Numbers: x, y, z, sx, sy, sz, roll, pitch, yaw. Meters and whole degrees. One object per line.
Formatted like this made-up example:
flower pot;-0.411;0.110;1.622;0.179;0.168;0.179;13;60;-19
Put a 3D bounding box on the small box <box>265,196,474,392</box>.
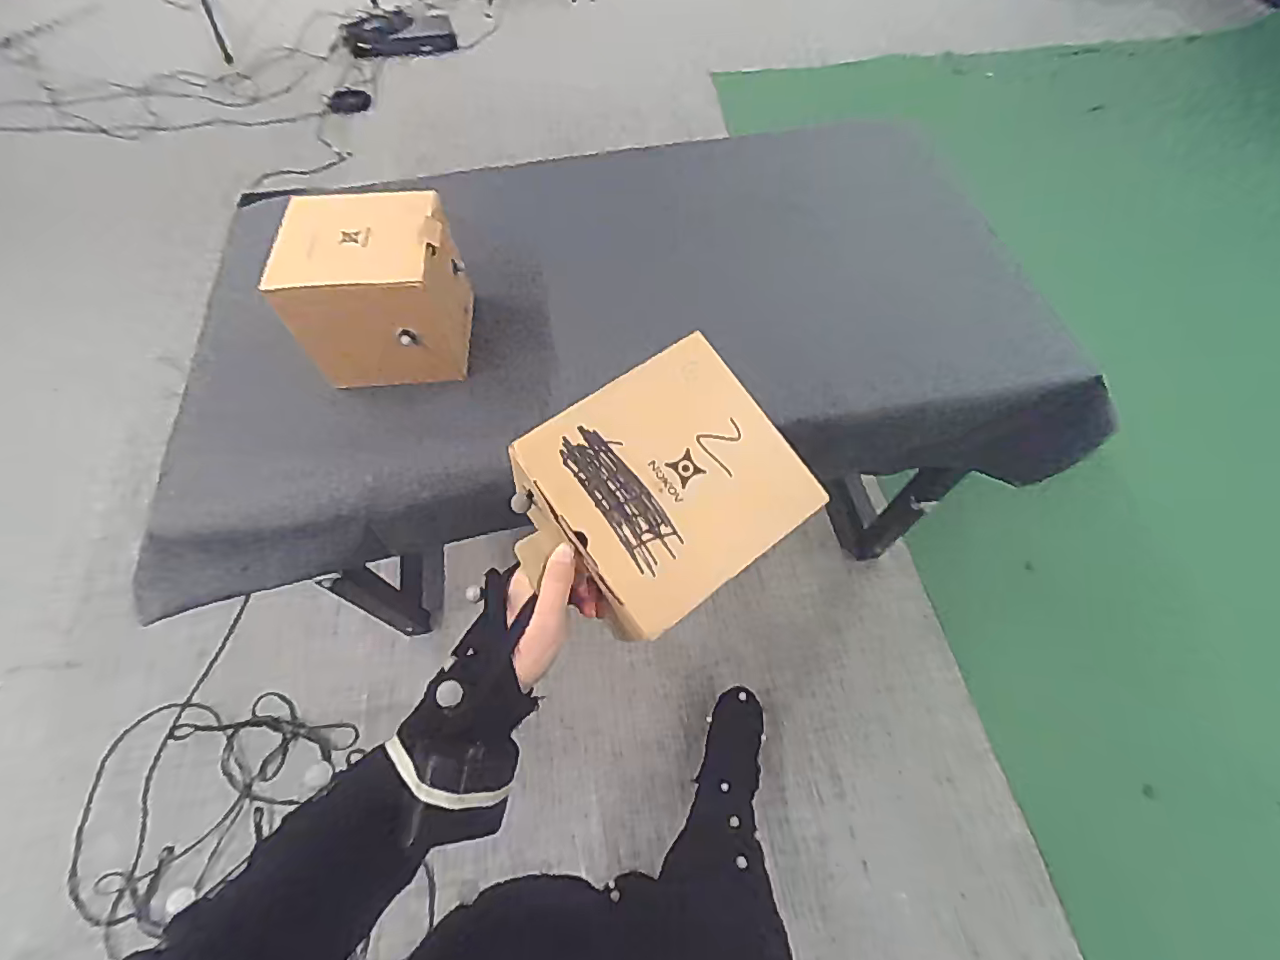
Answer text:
small box;-0.321;-0.230;0.688;0.179;0.176;0.168;-5;60;-2
